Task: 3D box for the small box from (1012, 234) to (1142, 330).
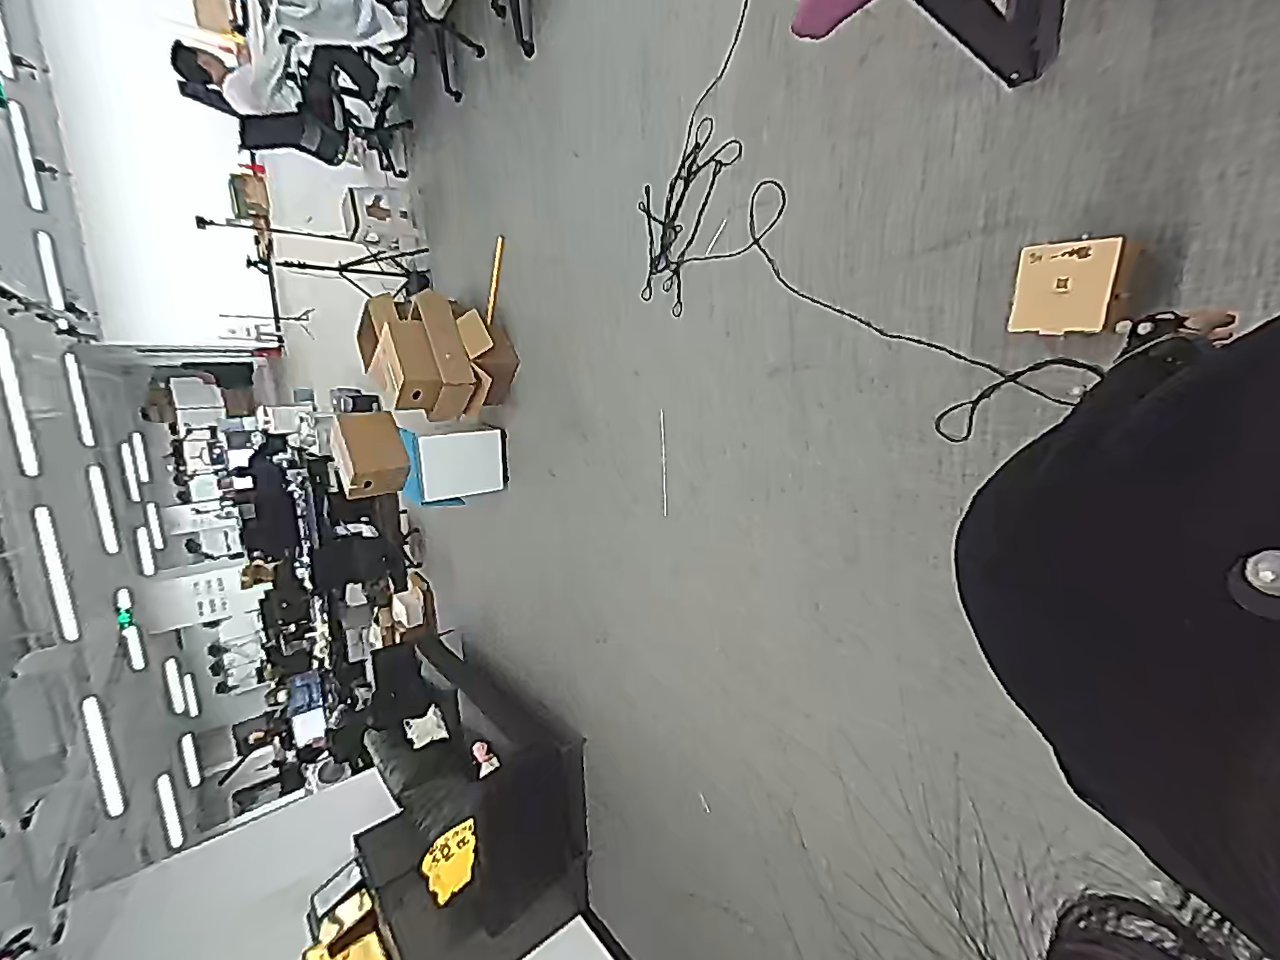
[{"bbox_3d":[0.918,-0.407,1.137,0.168,0.176,0.179,17,112,48],"label":"small box"}]
